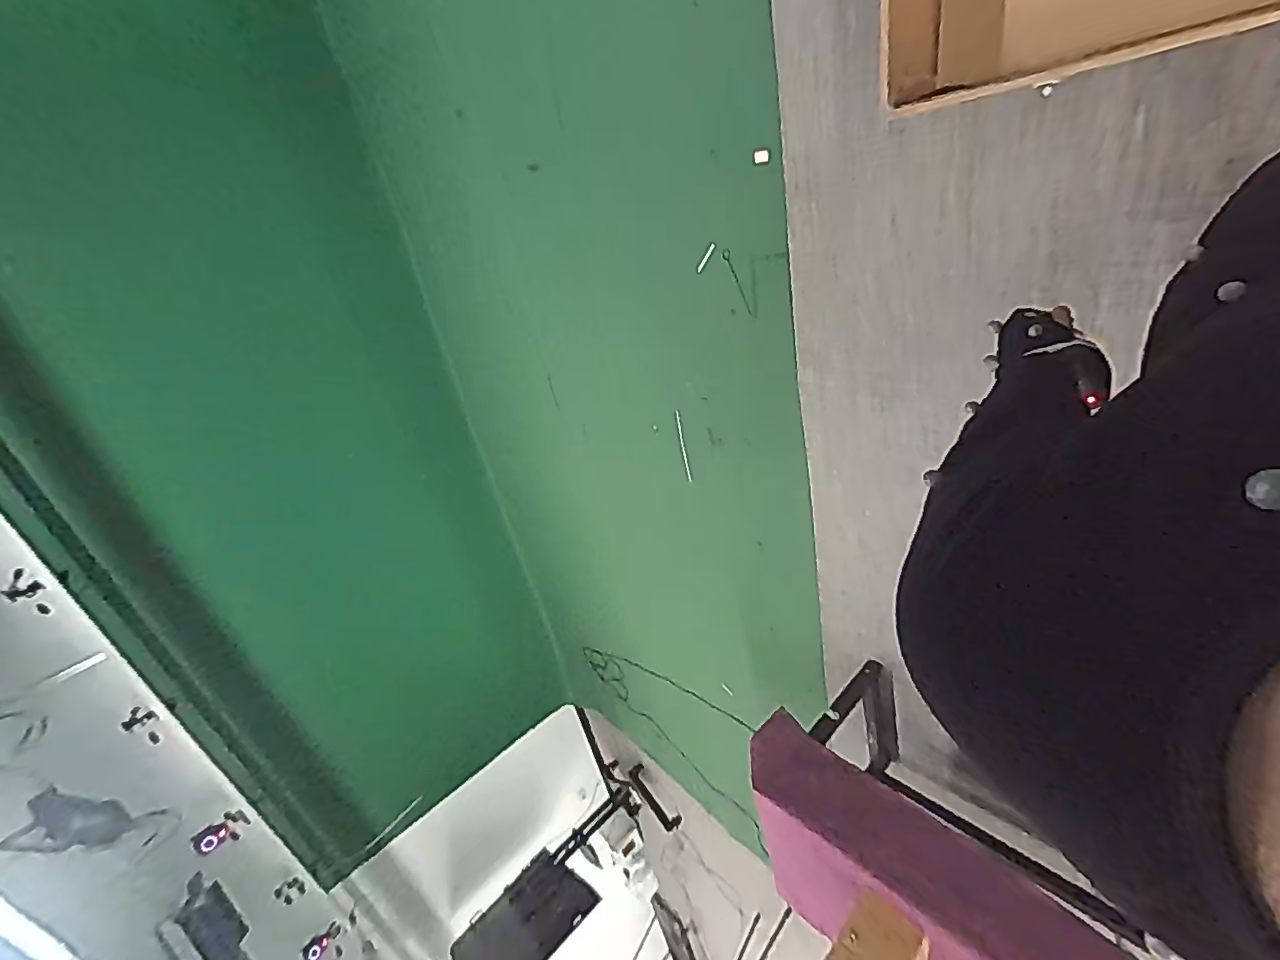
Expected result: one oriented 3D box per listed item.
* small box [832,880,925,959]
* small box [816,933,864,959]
[{"bbox_3d":[0.646,1.243,1.458,0.179,0.176,0.168,19,131,48],"label":"small box"},{"bbox_3d":[0.525,1.321,1.376,0.168,0.176,0.179,22,133,47],"label":"small box"}]
